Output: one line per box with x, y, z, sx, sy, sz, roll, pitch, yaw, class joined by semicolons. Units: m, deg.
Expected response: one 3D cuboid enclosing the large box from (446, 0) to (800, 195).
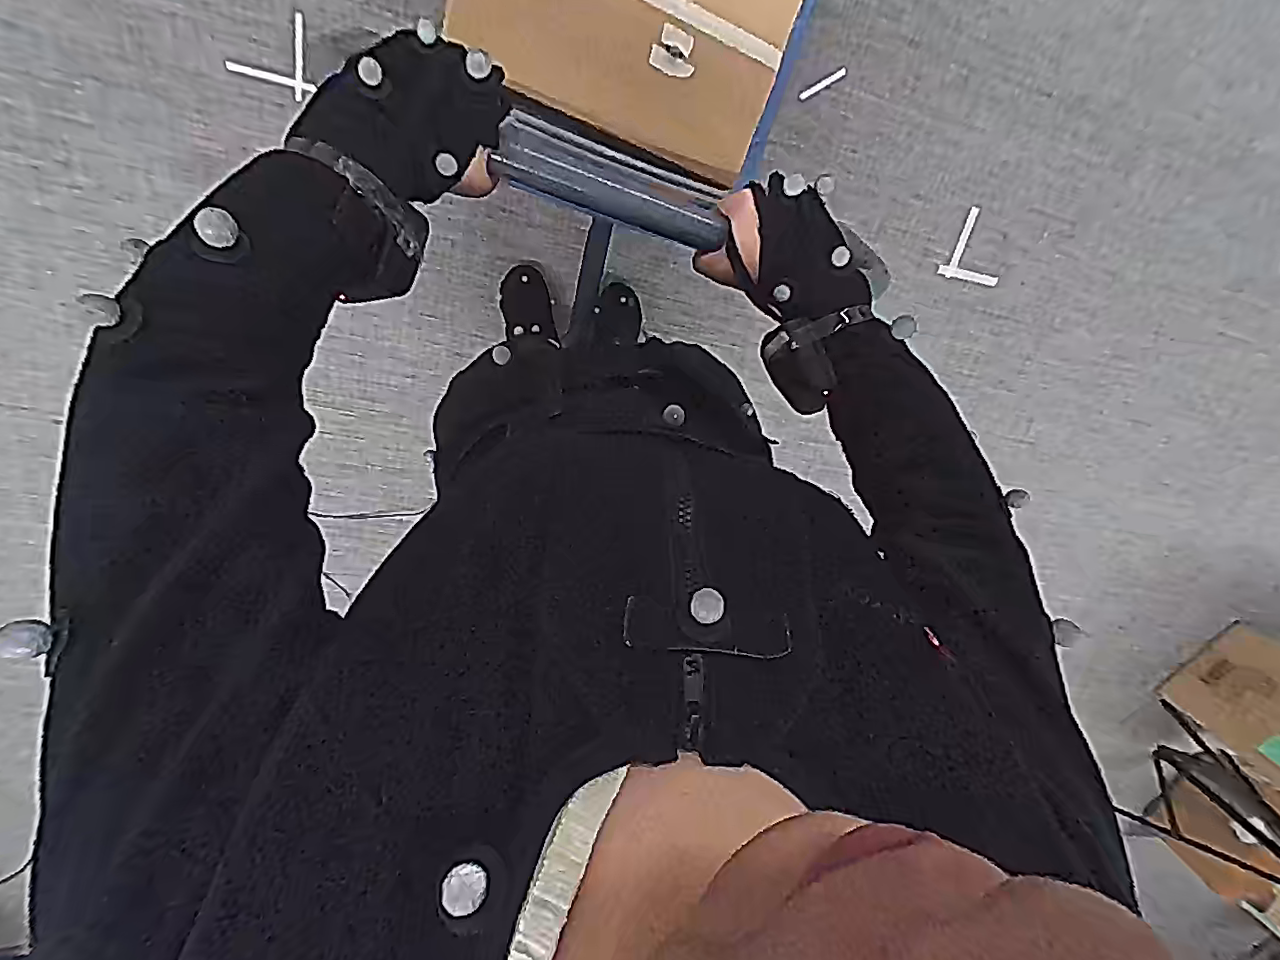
-0.030;-0.656;0.786;0.408;0.320;0.320;15;112;-17;large box
